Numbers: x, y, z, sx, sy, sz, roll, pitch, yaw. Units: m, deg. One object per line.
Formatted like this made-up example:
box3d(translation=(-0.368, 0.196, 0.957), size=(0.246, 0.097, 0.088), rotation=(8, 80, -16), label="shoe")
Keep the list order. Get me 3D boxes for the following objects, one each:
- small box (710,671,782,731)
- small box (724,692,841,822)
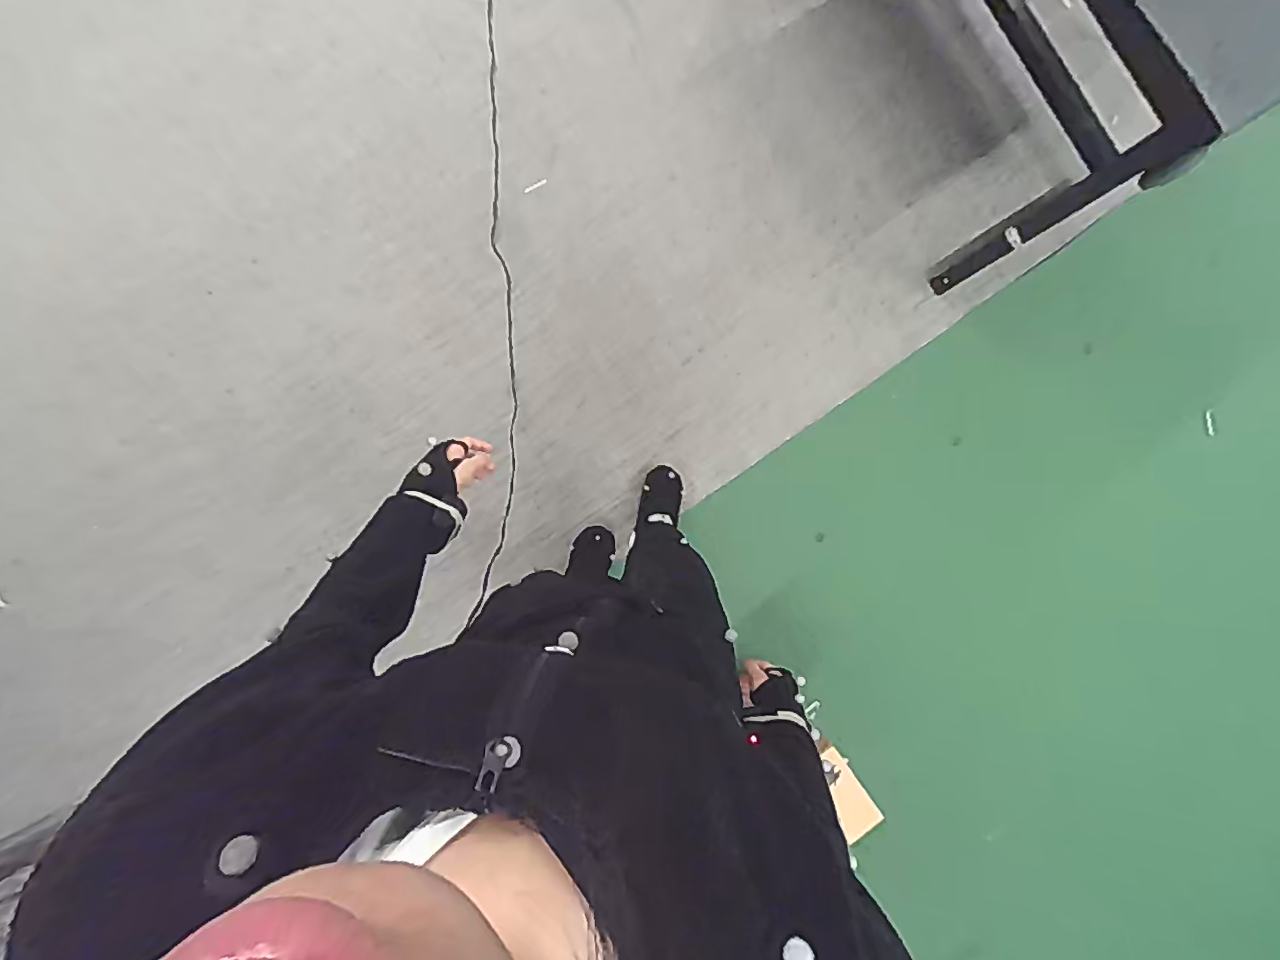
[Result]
box3d(translation=(0.308, 0.636, 1.420), size=(0.168, 0.176, 0.179), rotation=(-34, 91, -6), label="small box")
box3d(translation=(0.323, 0.633, 1.259), size=(0.168, 0.176, 0.179), rotation=(-35, 91, -5), label="small box")
